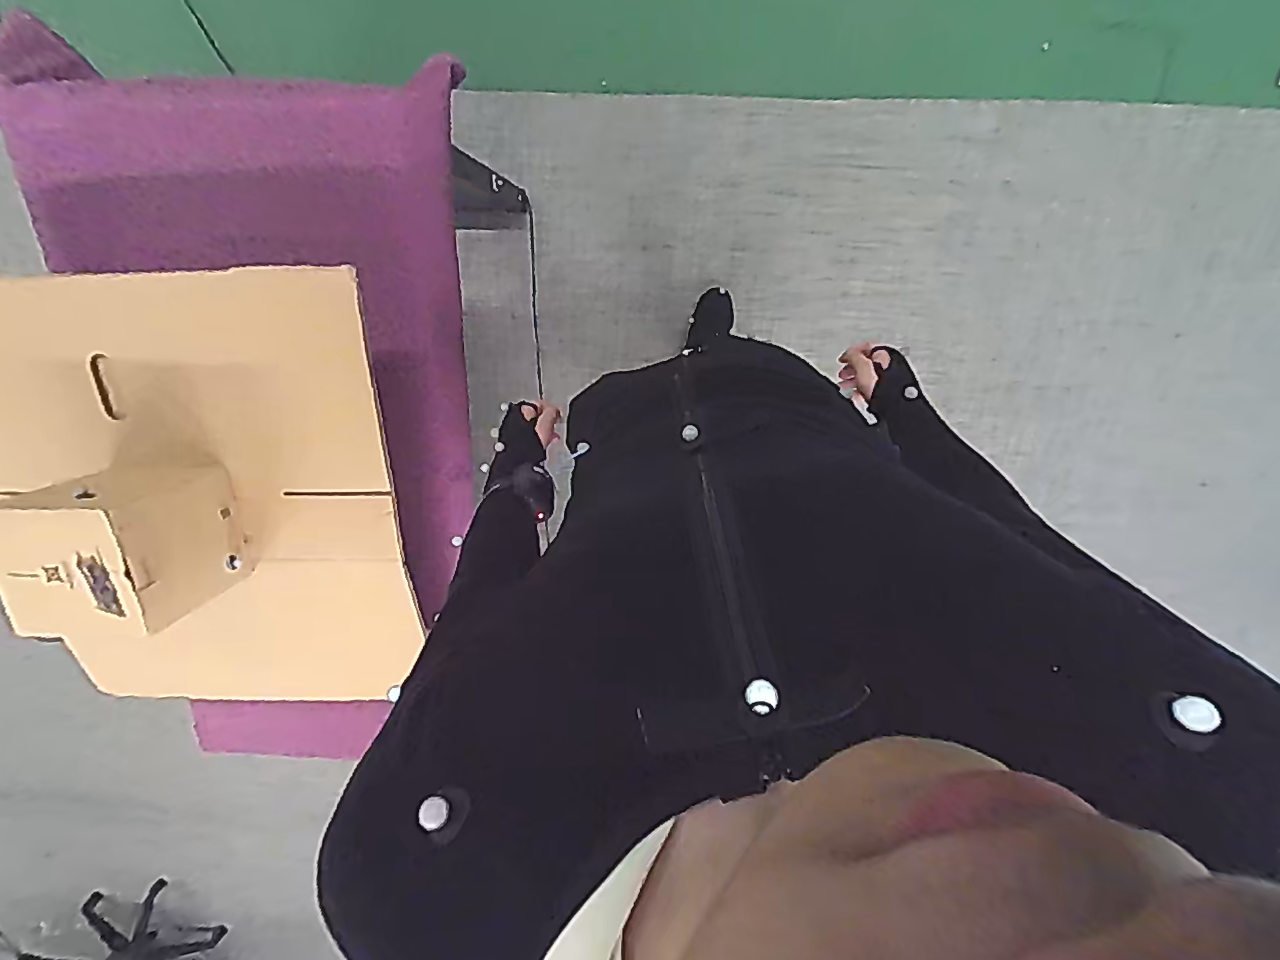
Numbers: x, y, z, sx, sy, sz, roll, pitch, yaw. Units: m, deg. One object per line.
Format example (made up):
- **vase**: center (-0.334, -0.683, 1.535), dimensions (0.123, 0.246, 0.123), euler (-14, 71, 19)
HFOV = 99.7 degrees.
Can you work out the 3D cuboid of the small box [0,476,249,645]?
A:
- **small box**: center (-0.650, 0.094, 0.699), dimensions (0.179, 0.176, 0.168), euler (0, 107, 4)
